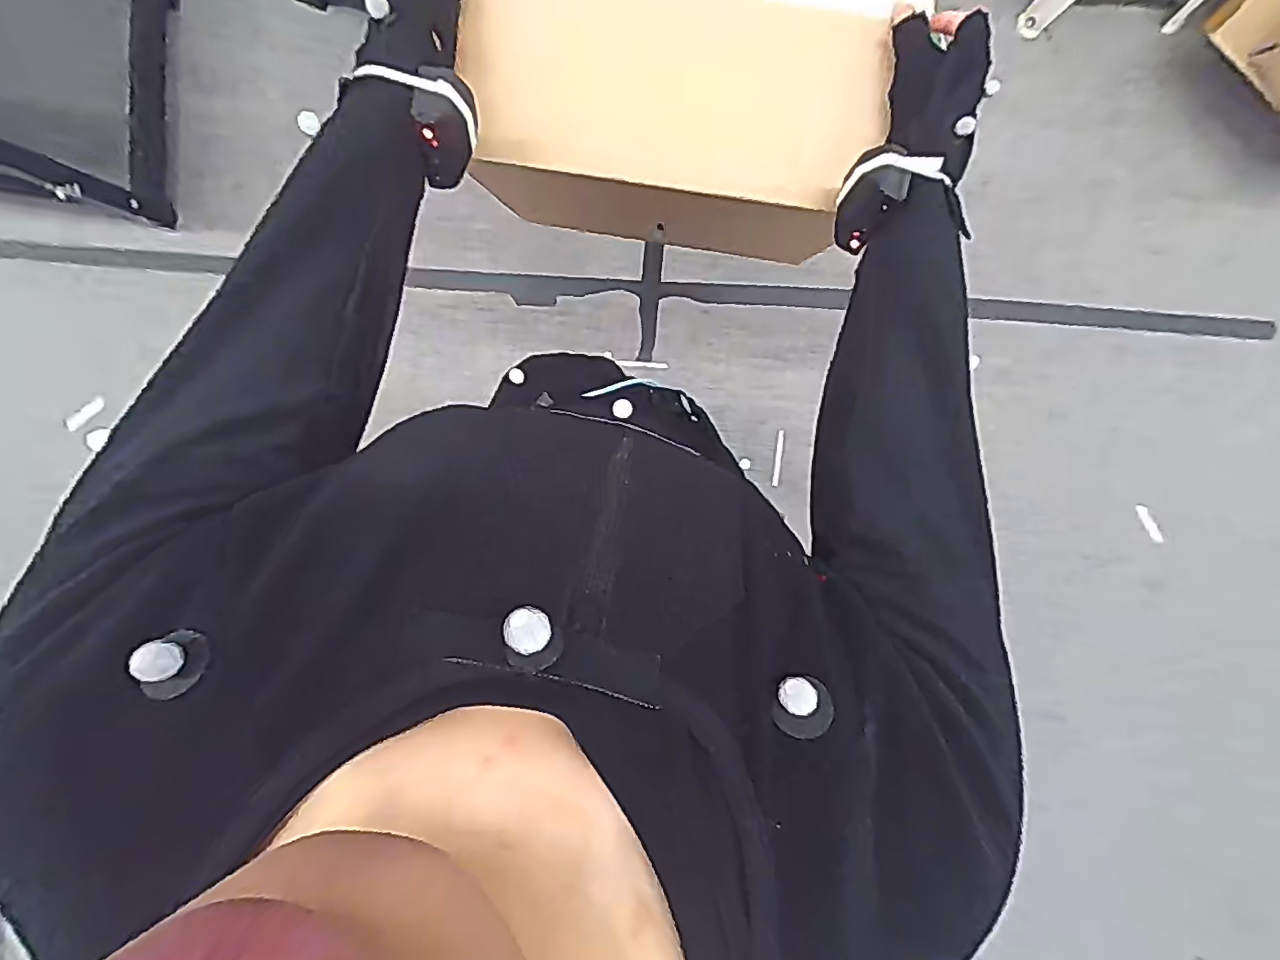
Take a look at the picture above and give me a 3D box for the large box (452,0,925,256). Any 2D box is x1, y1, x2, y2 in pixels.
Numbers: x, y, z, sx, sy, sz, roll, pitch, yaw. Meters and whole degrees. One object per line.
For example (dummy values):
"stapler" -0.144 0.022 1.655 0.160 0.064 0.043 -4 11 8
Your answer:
"large box" 0.050 -0.455 0.604 0.408 0.320 0.320 9 104 0
